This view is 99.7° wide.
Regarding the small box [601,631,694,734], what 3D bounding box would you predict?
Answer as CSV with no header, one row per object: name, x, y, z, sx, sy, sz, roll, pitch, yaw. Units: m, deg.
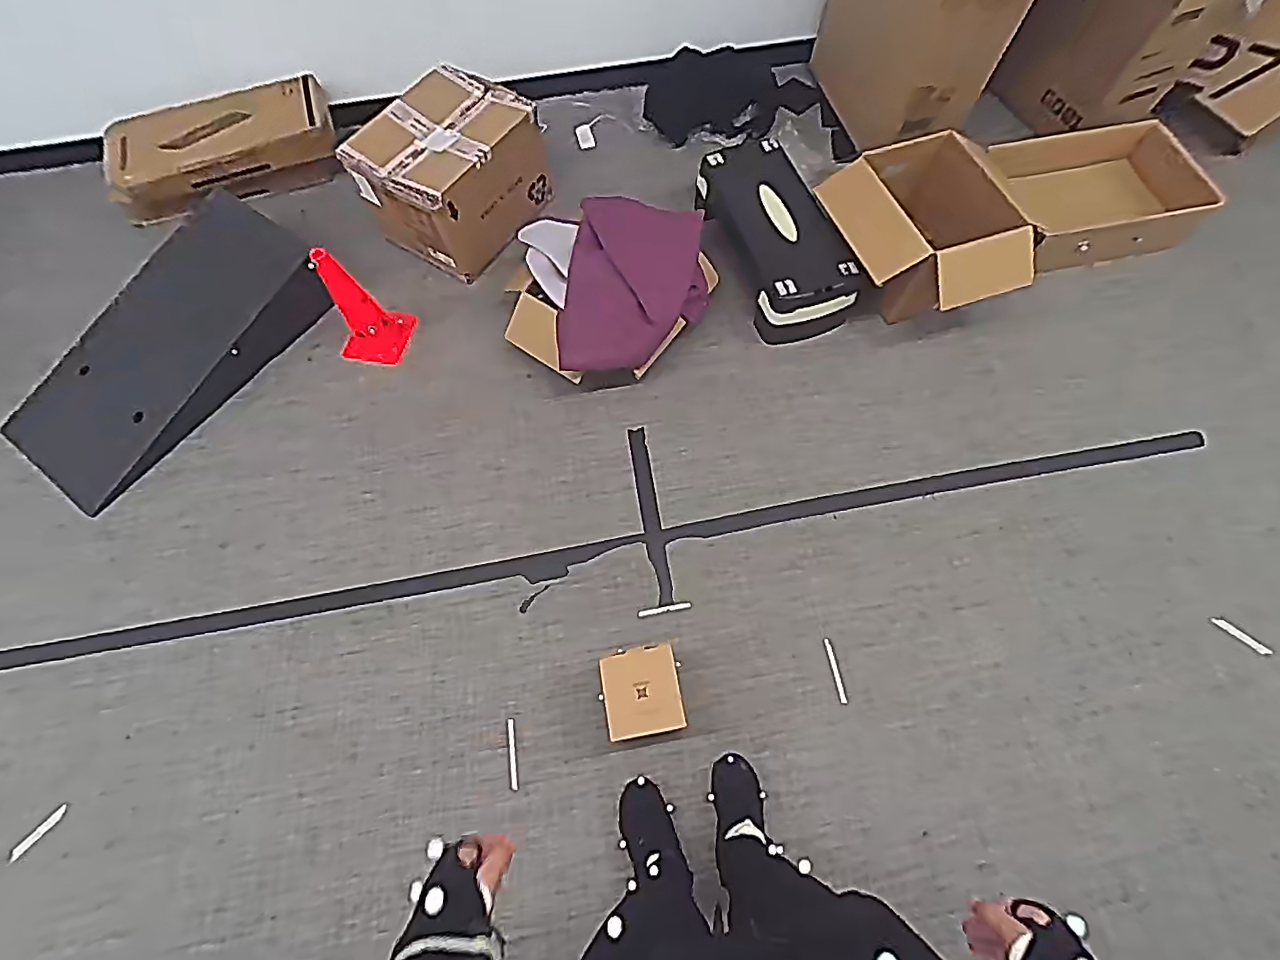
small box,0.014,0.437,1.168,0.168,0.176,0.179,-11,69,-2
